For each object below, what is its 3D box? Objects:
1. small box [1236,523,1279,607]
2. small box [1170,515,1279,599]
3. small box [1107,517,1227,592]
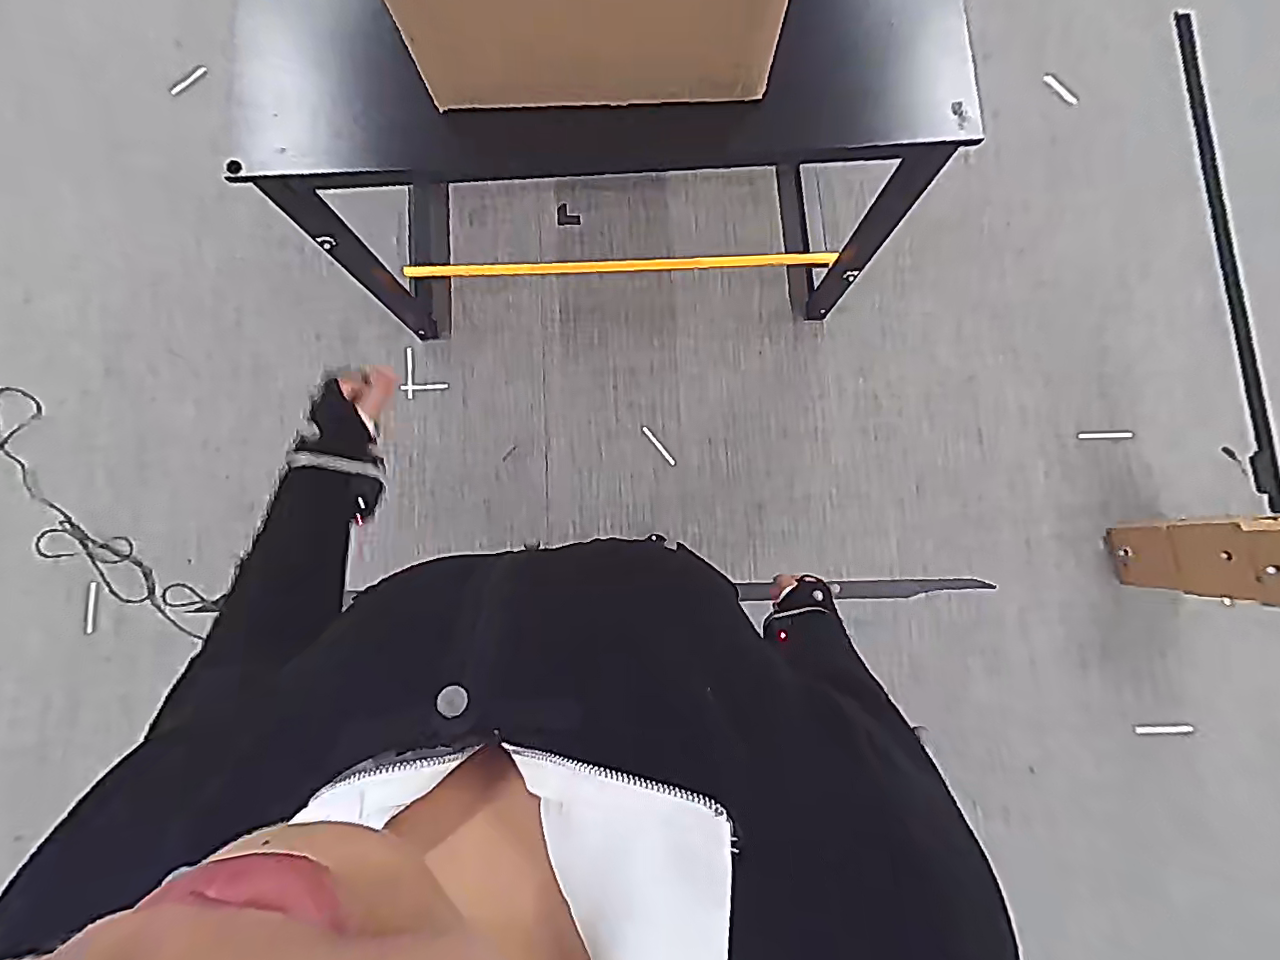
[{"bbox_3d":[1.390,0.166,1.088,0.179,0.176,0.168,-11,82,-1],"label":"small box"},{"bbox_3d":[1.395,0.177,1.252,0.168,0.176,0.179,-7,83,0],"label":"small box"},{"bbox_3d":[1.393,0.192,1.416,0.179,0.176,0.168,-9,82,0],"label":"small box"}]
